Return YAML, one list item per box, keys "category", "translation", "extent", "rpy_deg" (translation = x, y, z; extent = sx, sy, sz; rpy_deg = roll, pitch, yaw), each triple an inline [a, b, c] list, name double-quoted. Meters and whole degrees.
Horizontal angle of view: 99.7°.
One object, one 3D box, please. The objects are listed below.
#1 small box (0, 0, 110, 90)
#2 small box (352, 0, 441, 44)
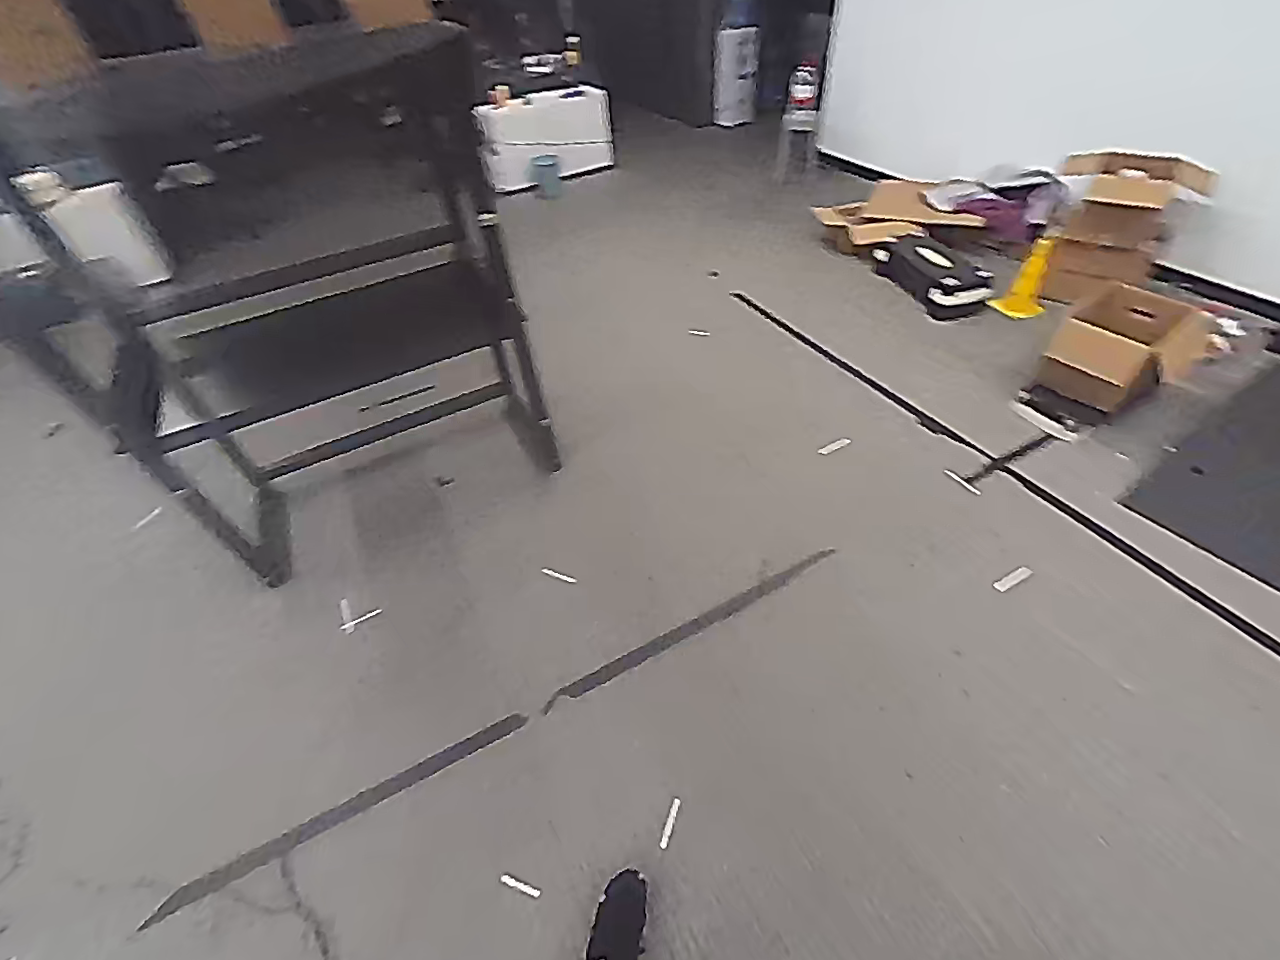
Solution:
- category: "small box"
  translation: [-1.366, -1.013, 1.227]
  extent: [0.179, 0.176, 0.168]
  rpy_deg: [-26, 49, -18]
- category: "small box"
  translation: [-0.594, -1.152, 1.280]
  extent: [0.168, 0.176, 0.179]
  rpy_deg: [-25, 48, -16]
